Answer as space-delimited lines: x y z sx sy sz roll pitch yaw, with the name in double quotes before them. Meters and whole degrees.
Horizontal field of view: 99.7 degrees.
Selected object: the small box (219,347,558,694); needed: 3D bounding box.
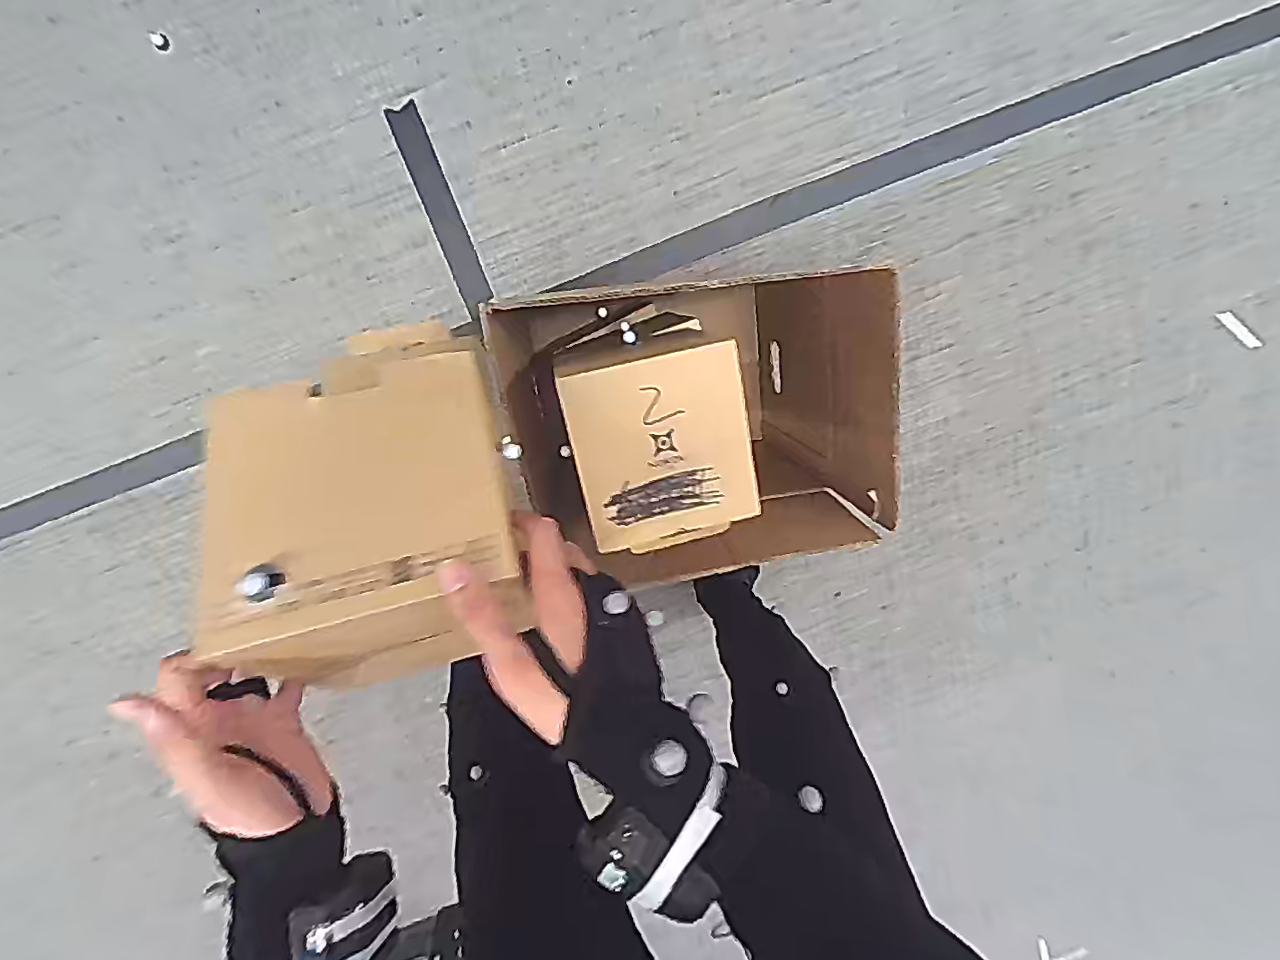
"small box" -0.160 0.039 0.386 0.168 0.176 0.179 -13 154 -11
